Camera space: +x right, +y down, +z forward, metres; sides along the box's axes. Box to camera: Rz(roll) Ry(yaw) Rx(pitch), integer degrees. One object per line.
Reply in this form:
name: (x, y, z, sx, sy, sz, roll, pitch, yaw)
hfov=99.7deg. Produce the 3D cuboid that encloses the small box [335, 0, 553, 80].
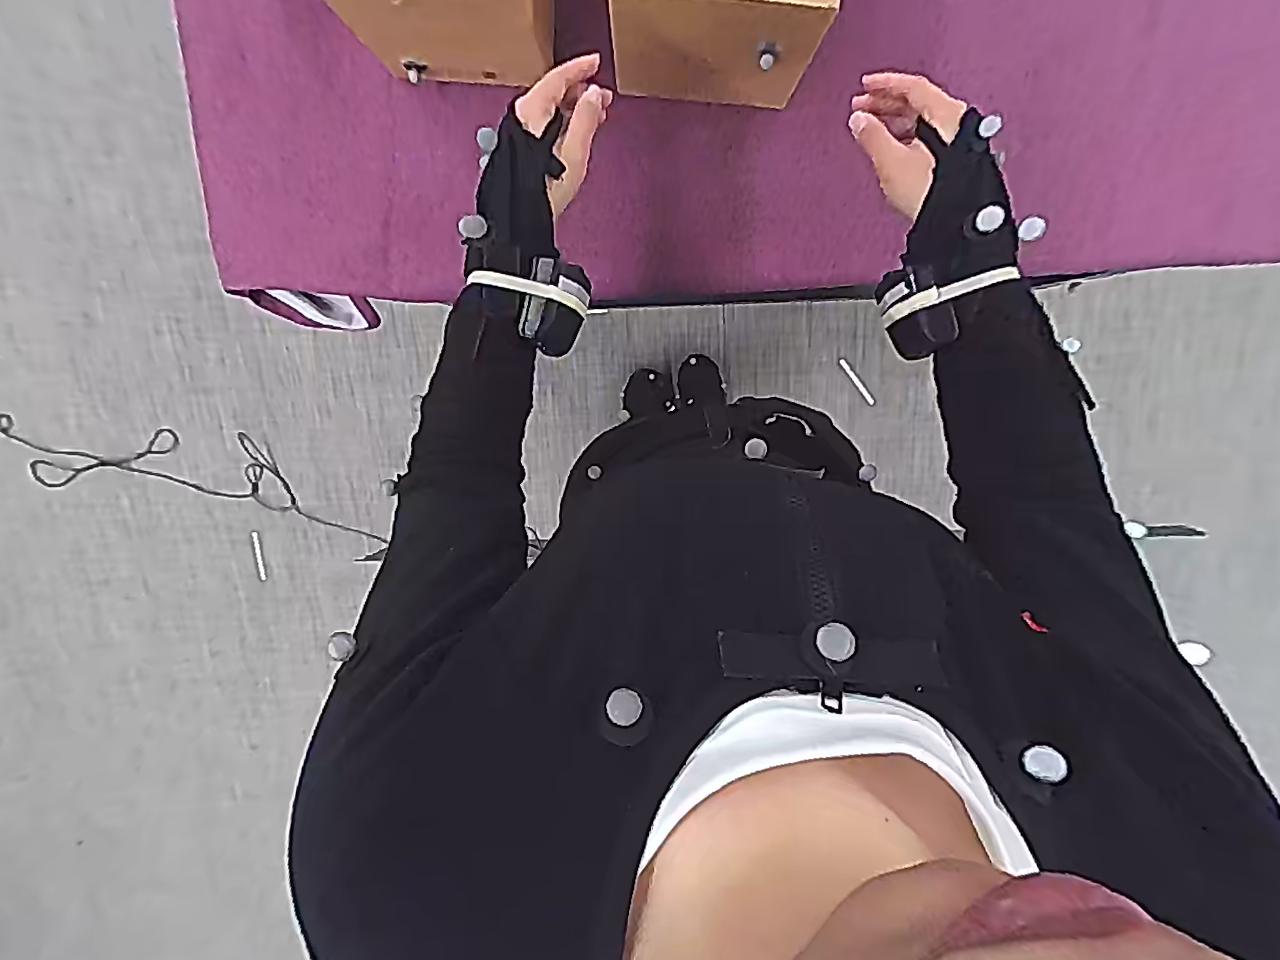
small box: (-0.167, -0.478, 0.460, 0.168, 0.176, 0.179, 3, 103, 0)
